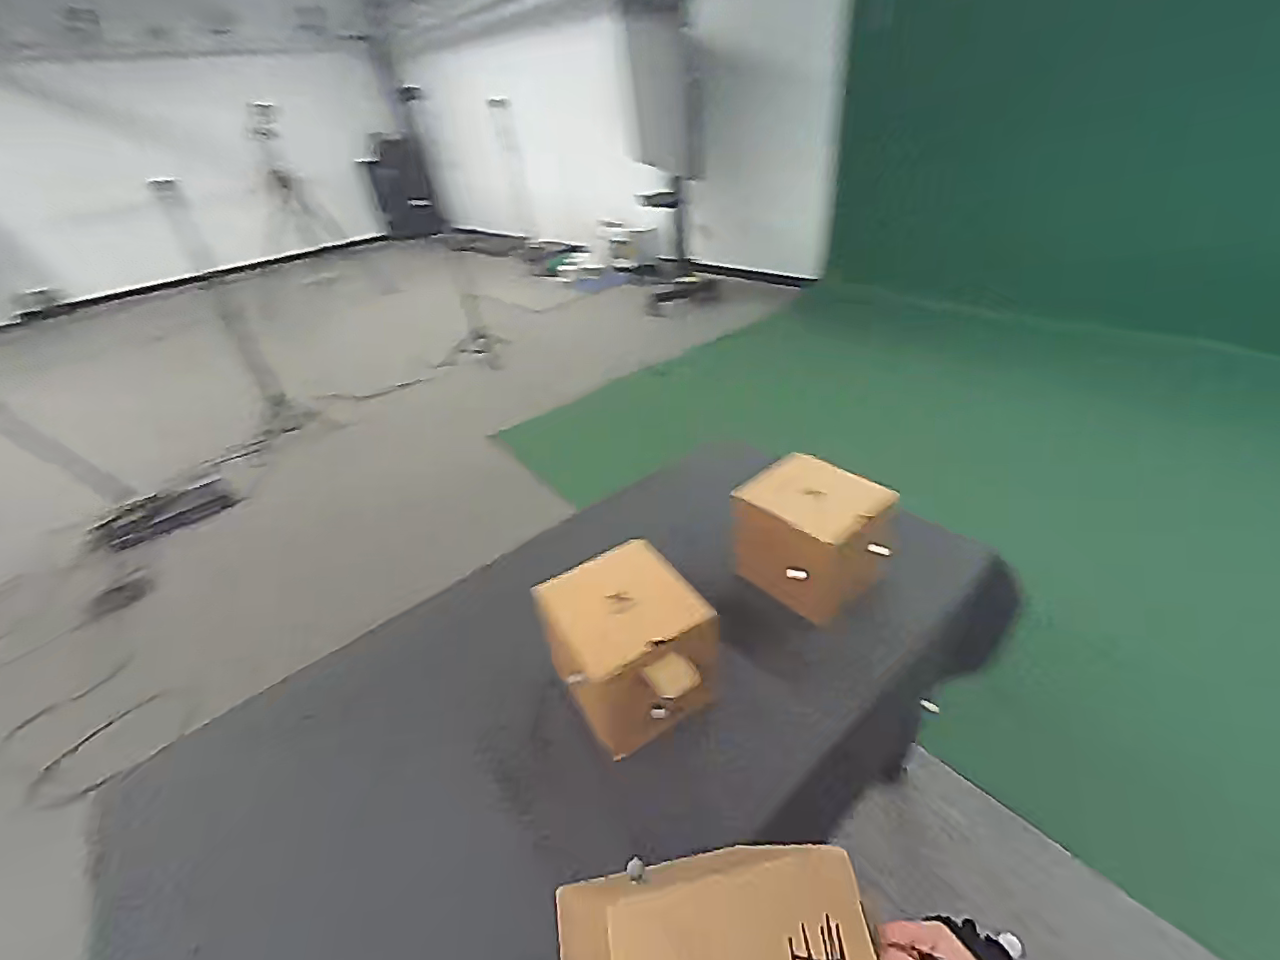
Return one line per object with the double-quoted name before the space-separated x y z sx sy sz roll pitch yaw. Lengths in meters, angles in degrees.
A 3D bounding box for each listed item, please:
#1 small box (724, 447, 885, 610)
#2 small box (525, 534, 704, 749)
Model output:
"small box" 0.252 0.078 0.851 0.168 0.176 0.179 -29 39 -30
"small box" -0.032 0.207 0.712 0.168 0.176 0.179 -23 38 -24
